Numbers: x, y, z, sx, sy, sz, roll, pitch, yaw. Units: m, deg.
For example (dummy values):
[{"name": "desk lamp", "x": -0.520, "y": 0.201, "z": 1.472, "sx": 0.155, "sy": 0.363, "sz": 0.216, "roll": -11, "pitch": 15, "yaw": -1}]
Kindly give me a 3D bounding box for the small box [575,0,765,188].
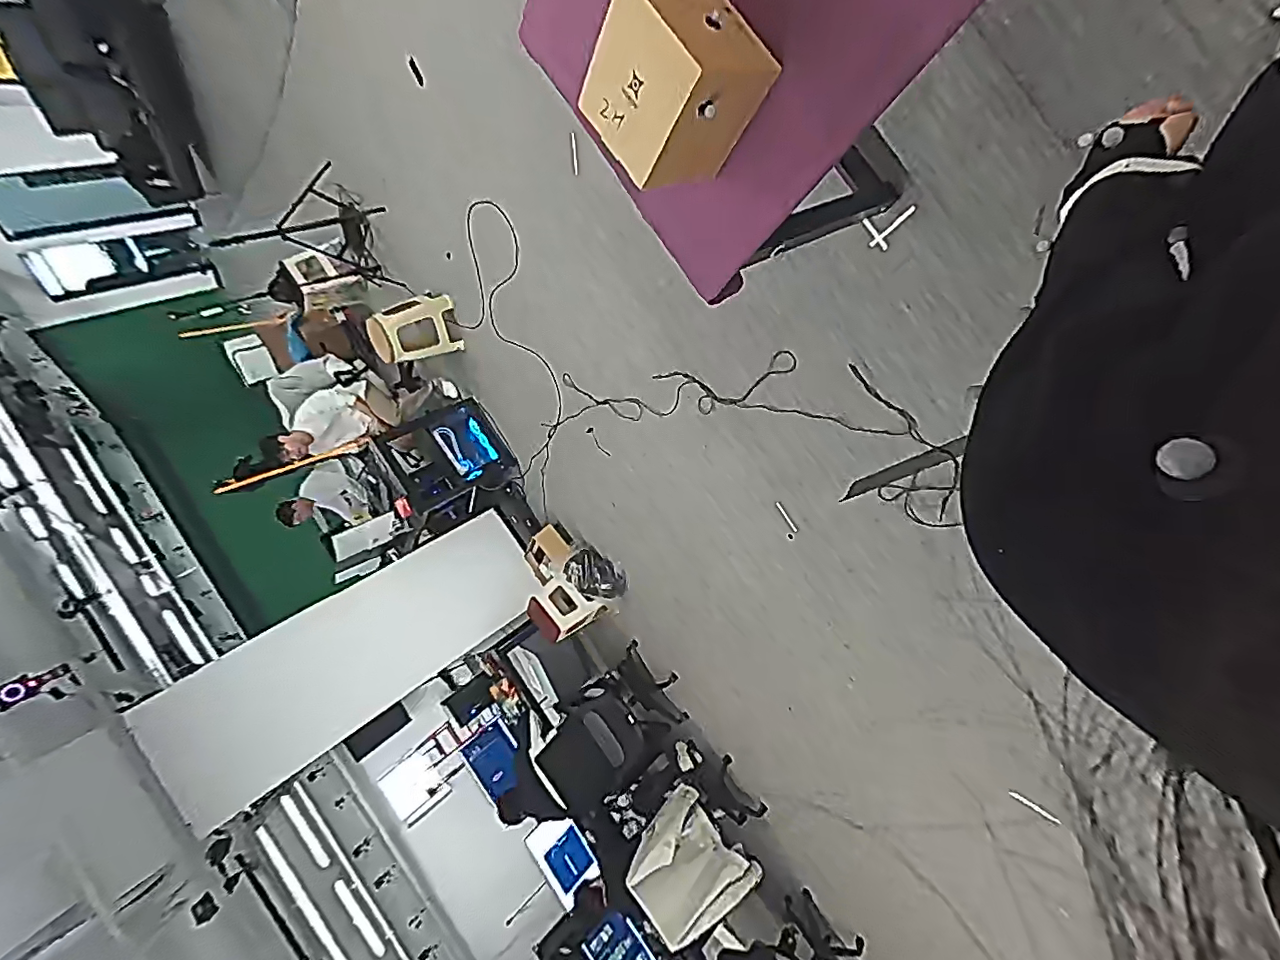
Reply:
[{"name": "small box", "x": 0.045, "y": -0.544, "z": 0.742, "sx": 0.168, "sy": 0.176, "sz": 0.179, "roll": 56, "pitch": 147, "yaw": 5}]
